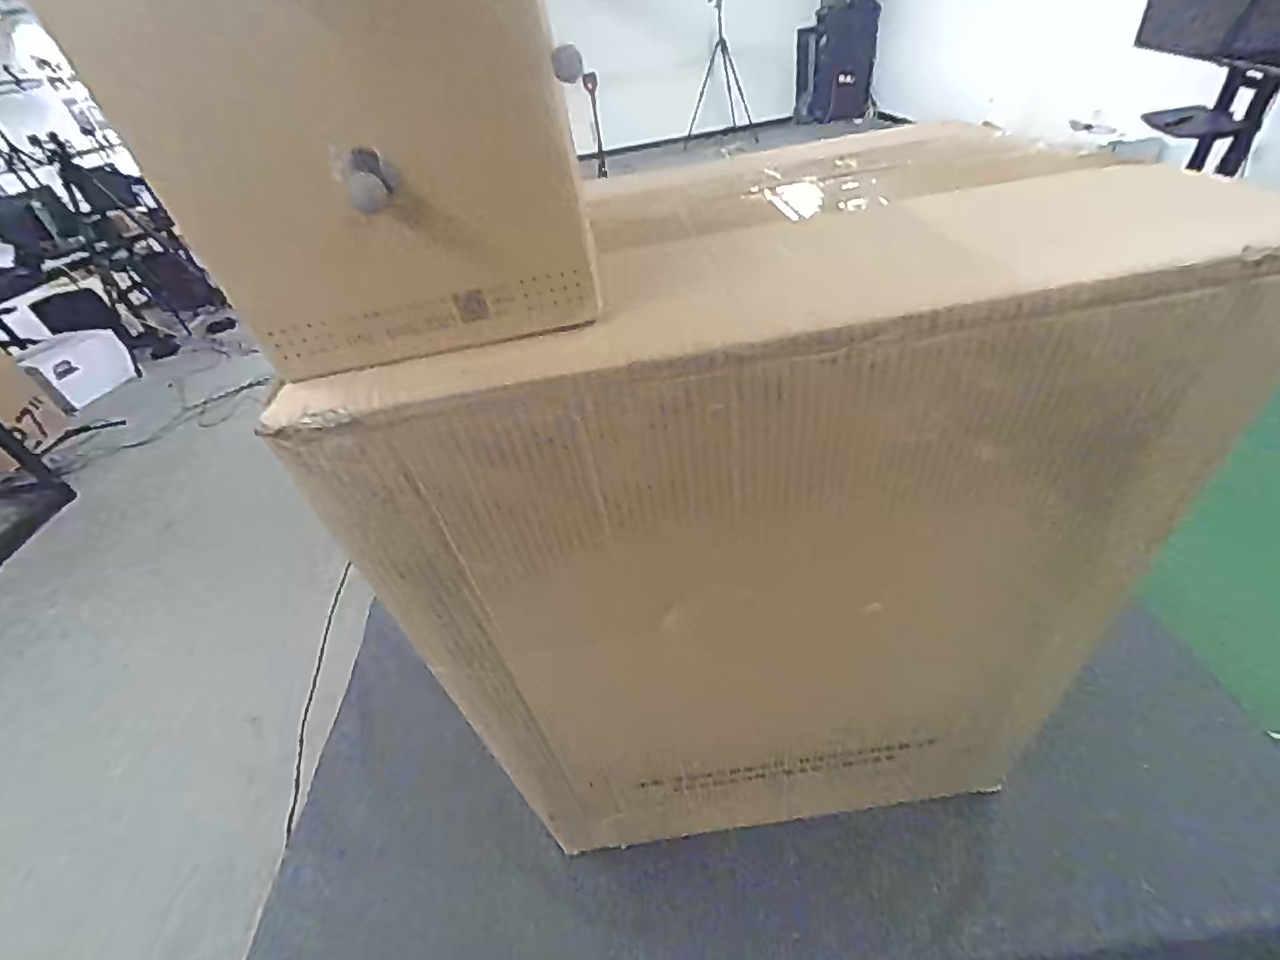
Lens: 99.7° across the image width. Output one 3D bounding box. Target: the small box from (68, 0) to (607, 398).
[{"bbox_3d":[-0.120,-0.161,0.303,0.168,0.176,0.179,-13,41,0],"label":"small box"}]
